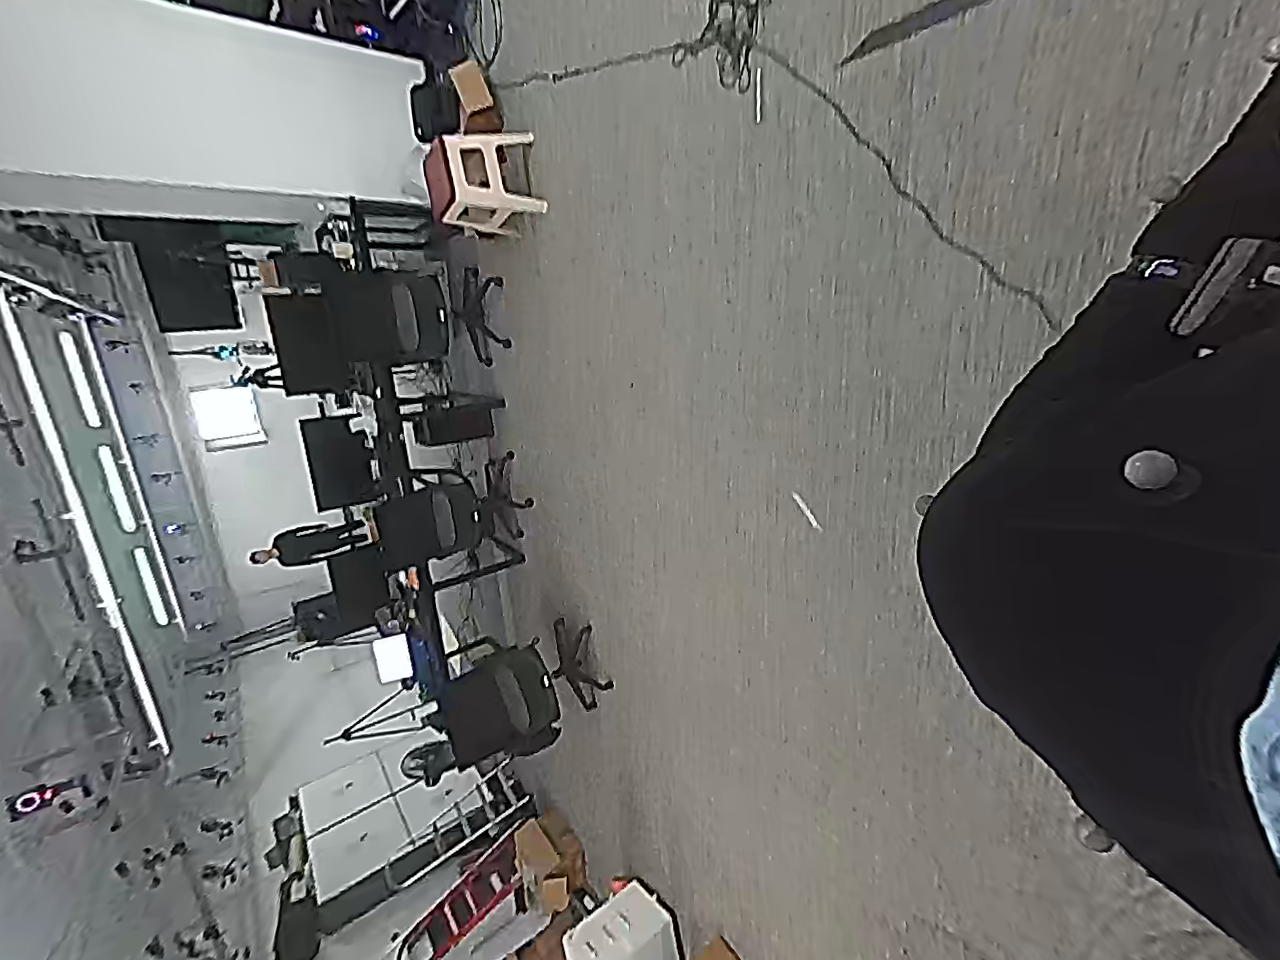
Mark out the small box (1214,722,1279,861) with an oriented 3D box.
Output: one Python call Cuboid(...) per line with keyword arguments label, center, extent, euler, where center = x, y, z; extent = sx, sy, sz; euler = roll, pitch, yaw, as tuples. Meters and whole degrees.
Cuboid(label="small box", center=(1.217, 0.592, 1.012), extent=(0.168, 0.176, 0.179), euler=(11, 112, 53))
